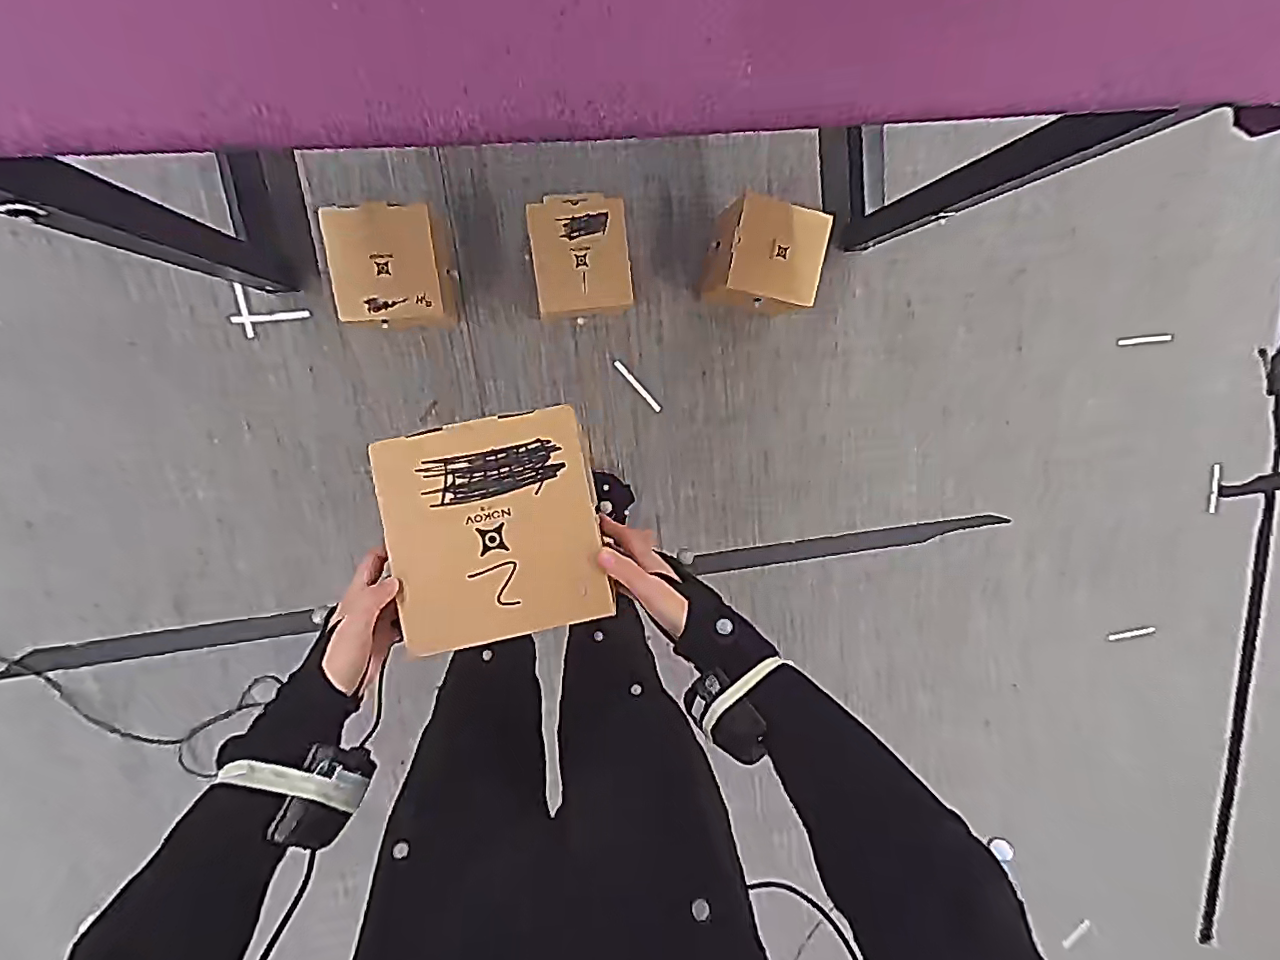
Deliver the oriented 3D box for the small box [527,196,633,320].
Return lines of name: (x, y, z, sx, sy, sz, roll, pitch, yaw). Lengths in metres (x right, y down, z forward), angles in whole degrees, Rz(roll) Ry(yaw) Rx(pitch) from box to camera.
small box: (-0.114, -0.398, 0.992, 0.168, 0.176, 0.179, -8, 103, -8)

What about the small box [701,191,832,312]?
small box: (0.236, -0.430, 1.050, 0.179, 0.176, 0.168, 9, 99, -11)

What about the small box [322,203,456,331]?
small box: (-0.426, -0.363, 0.944, 0.168, 0.176, 0.179, -6, 100, -9)
